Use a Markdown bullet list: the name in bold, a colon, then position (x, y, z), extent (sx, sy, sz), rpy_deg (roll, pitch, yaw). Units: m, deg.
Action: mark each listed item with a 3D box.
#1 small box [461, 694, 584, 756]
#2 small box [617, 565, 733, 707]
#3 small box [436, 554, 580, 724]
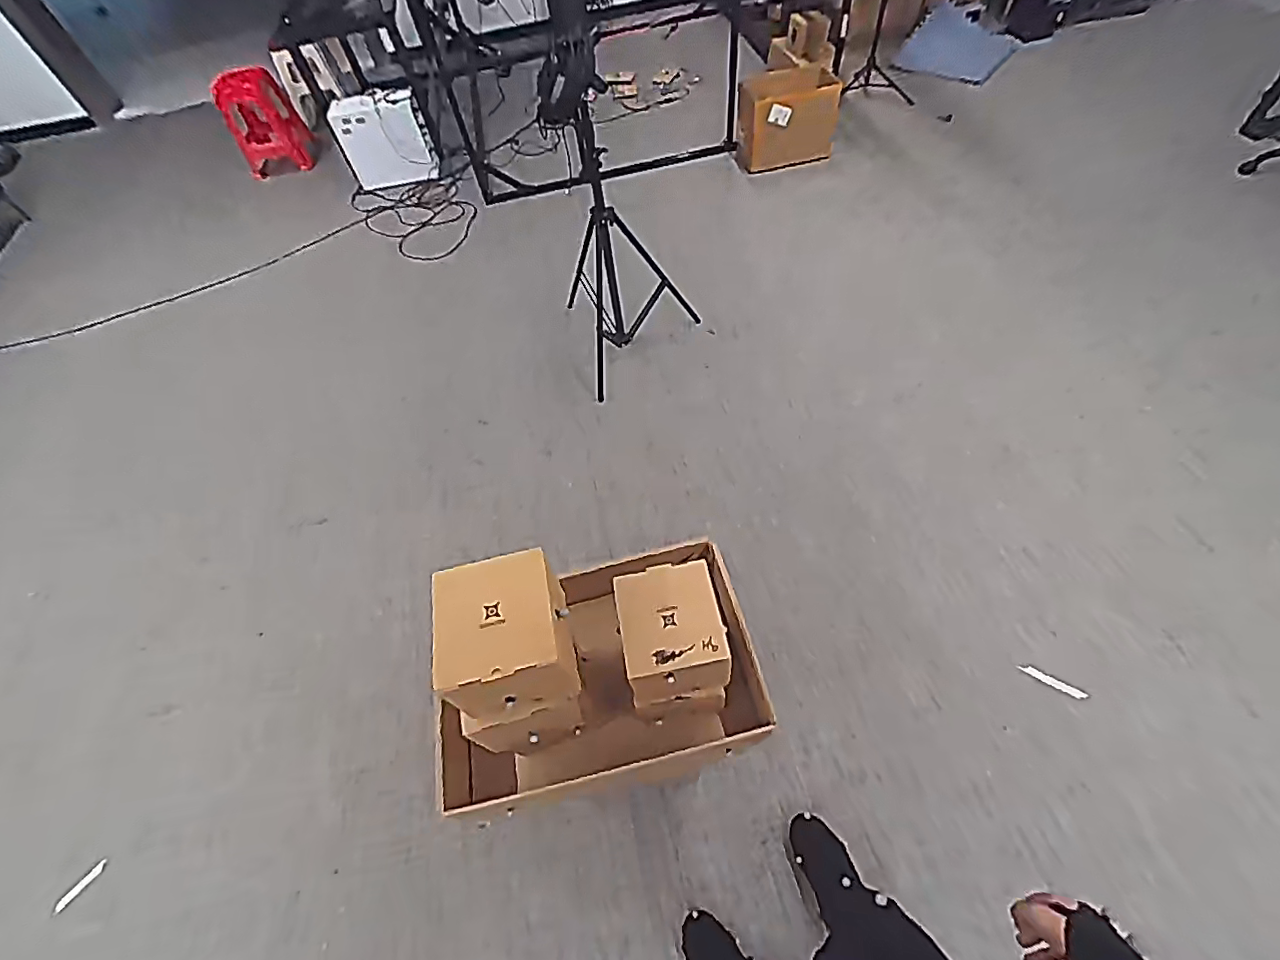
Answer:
- **small box**: position (-0.203, 0.350, 0.931), extent (0.168, 0.176, 0.179), rpy_deg (-17, 56, -6)
- **small box**: position (0.059, 0.274, 0.944), extent (0.168, 0.176, 0.179), rpy_deg (-11, 55, 0)
- **small box**: position (-0.194, 0.240, 0.807), extent (0.168, 0.176, 0.179), rpy_deg (-14, 56, -5)
